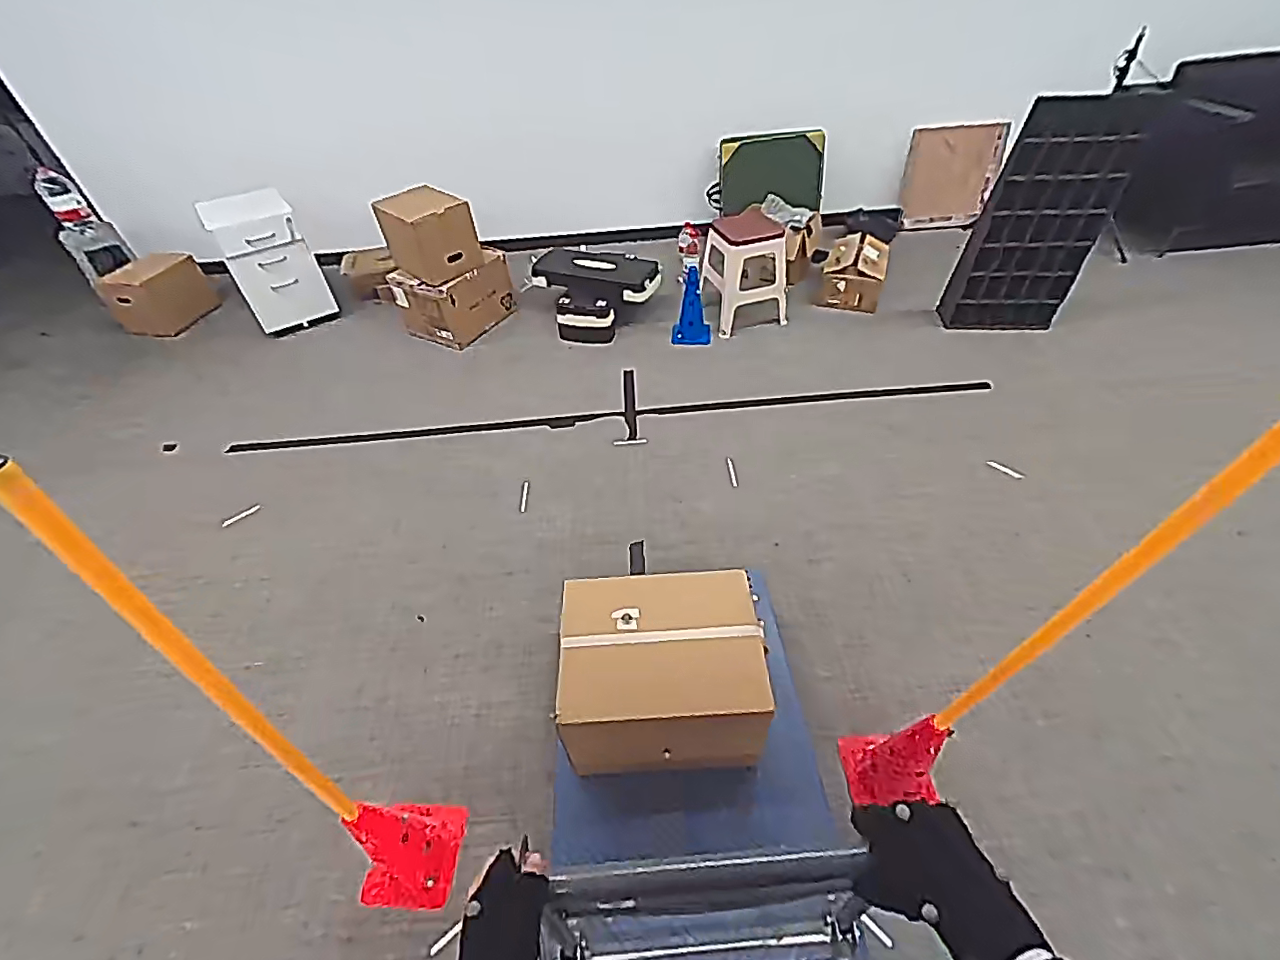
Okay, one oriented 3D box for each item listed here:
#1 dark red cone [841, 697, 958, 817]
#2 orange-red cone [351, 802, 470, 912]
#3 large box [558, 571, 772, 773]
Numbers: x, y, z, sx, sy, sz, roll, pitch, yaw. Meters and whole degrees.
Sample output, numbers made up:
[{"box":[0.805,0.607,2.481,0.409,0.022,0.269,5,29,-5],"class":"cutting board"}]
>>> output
[{"box":[0.601,0.580,1.183,0.201,0.394,0.202,-3,45,-1],"class":"dark red cone"},{"box":[-0.520,0.749,1.138,0.198,0.360,0.199,1,44,5],"class":"orange-red cone"},{"box":[0.049,0.430,1.201,0.408,0.320,0.320,-5,45,1],"class":"large box"}]
